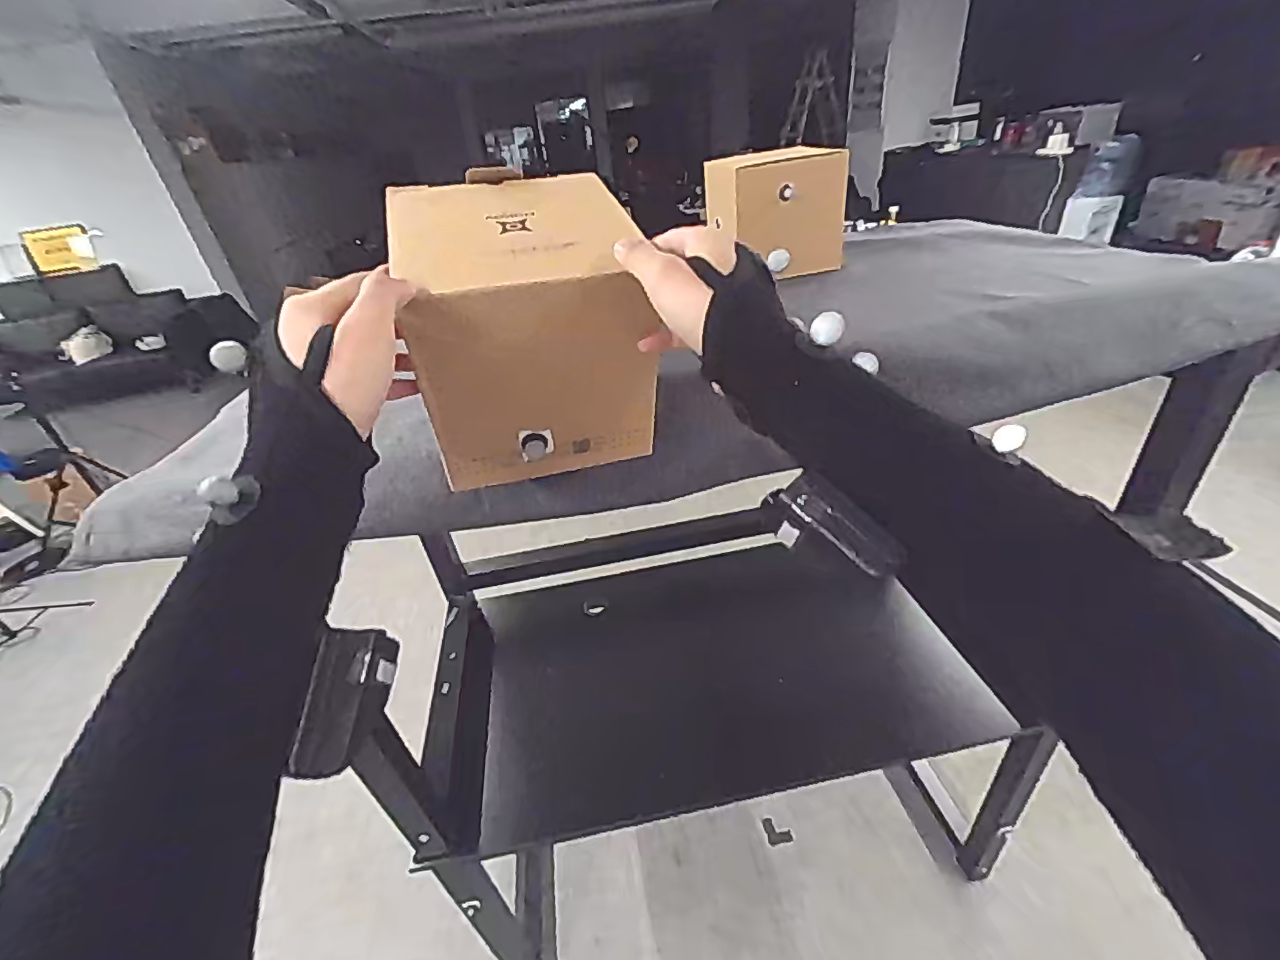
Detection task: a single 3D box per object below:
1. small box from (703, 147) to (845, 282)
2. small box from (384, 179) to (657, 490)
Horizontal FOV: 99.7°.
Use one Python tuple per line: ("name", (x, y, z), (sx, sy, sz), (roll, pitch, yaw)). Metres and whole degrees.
("small box", (0.211, -0.432, 0.880), (0.179, 0.176, 0.168), (-11, 34, -4))
("small box", (-0.094, -0.120, 0.435), (0.168, 0.176, 0.179), (-13, 48, -13))
